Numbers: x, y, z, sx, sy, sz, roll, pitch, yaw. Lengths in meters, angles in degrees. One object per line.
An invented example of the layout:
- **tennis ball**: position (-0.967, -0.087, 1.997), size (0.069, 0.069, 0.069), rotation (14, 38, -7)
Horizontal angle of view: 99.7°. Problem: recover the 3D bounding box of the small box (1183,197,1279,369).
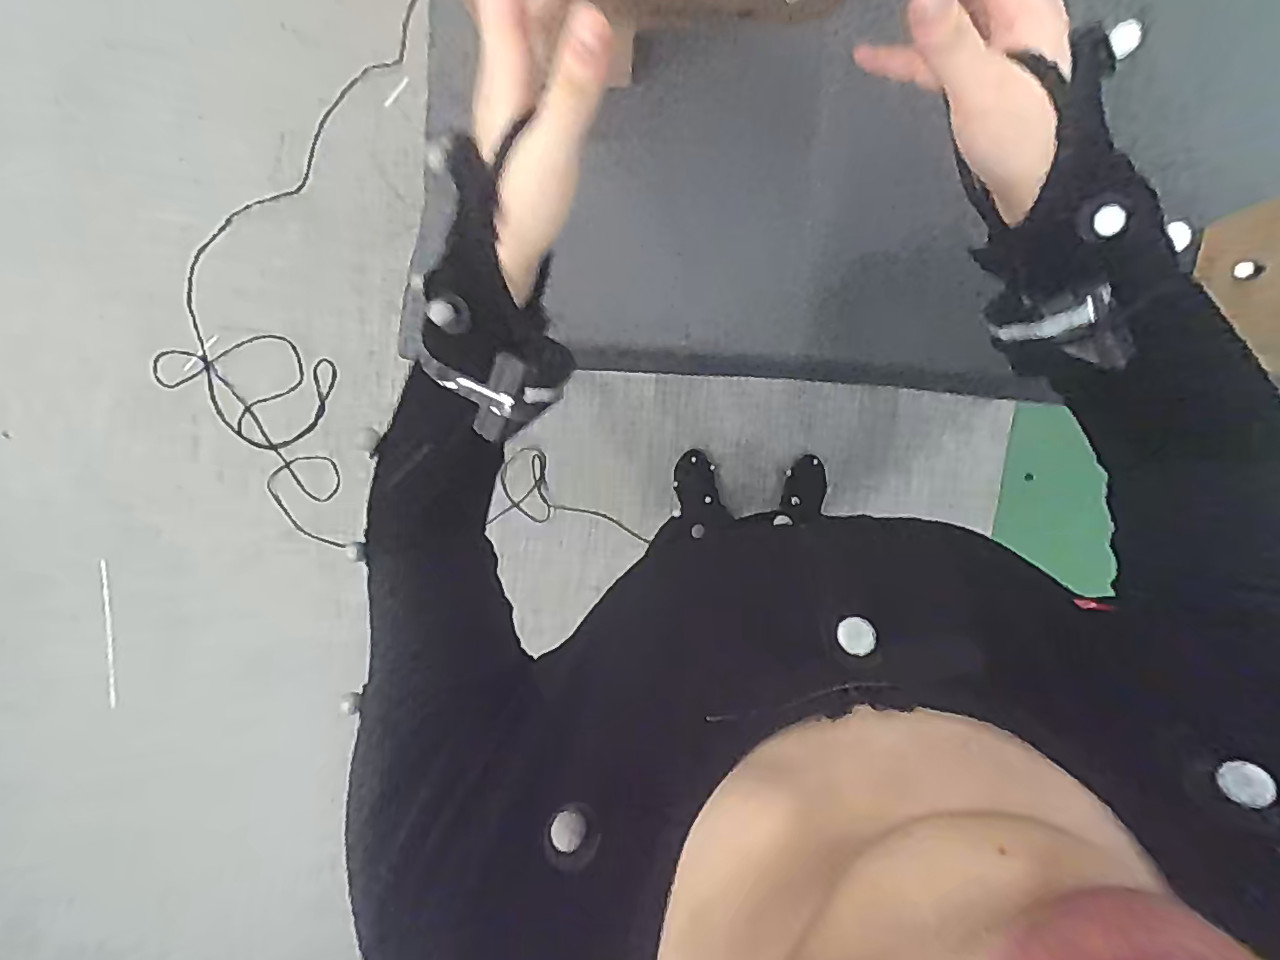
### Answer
- **small box**: position (0.770, -0.220, 0.592), size (0.179, 0.176, 0.168), rotation (11, 95, 3)
